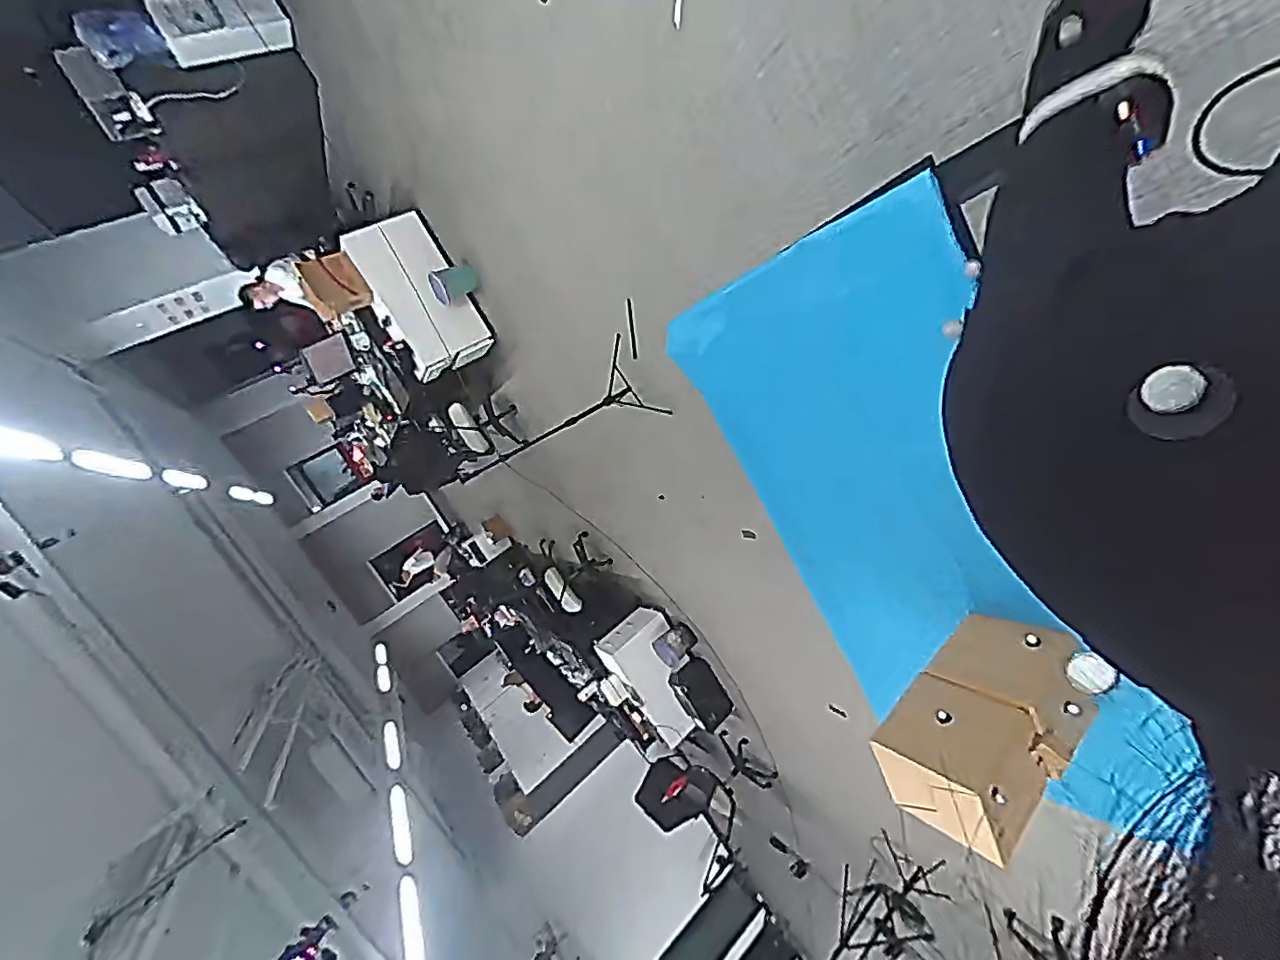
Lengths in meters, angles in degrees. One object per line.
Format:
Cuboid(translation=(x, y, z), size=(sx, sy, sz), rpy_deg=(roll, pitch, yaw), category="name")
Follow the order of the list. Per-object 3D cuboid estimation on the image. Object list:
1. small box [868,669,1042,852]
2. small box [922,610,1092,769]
Cuboid(translation=(0.515, 0.454, 0.888), size=(0.179, 0.176, 0.168), rpy_deg=(4, 126, 57), category="small box")
Cuboid(translation=(0.638, 0.360, 0.946), size=(0.179, 0.176, 0.168), rpy_deg=(0, 121, 60), category="small box")
